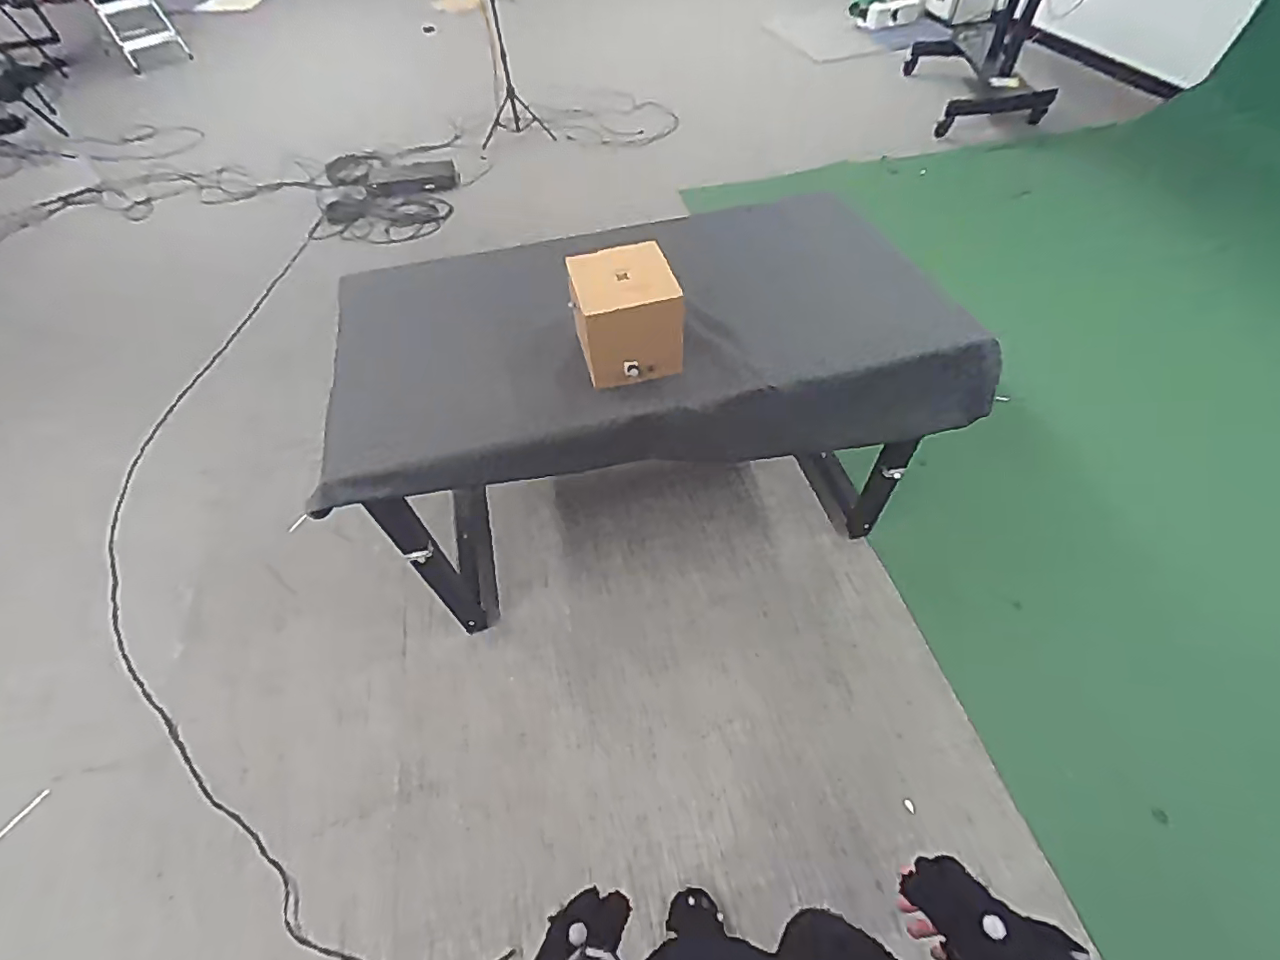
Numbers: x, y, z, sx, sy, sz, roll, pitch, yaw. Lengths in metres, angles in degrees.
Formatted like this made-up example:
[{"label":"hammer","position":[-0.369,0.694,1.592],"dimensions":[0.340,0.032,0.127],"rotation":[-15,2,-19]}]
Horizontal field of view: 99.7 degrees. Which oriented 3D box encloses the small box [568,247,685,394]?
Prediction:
[{"label":"small box","position":[-0.024,-0.283,0.972],"dimensions":[0.168,0.176,0.179],"rotation":[-15,54,-6]}]
